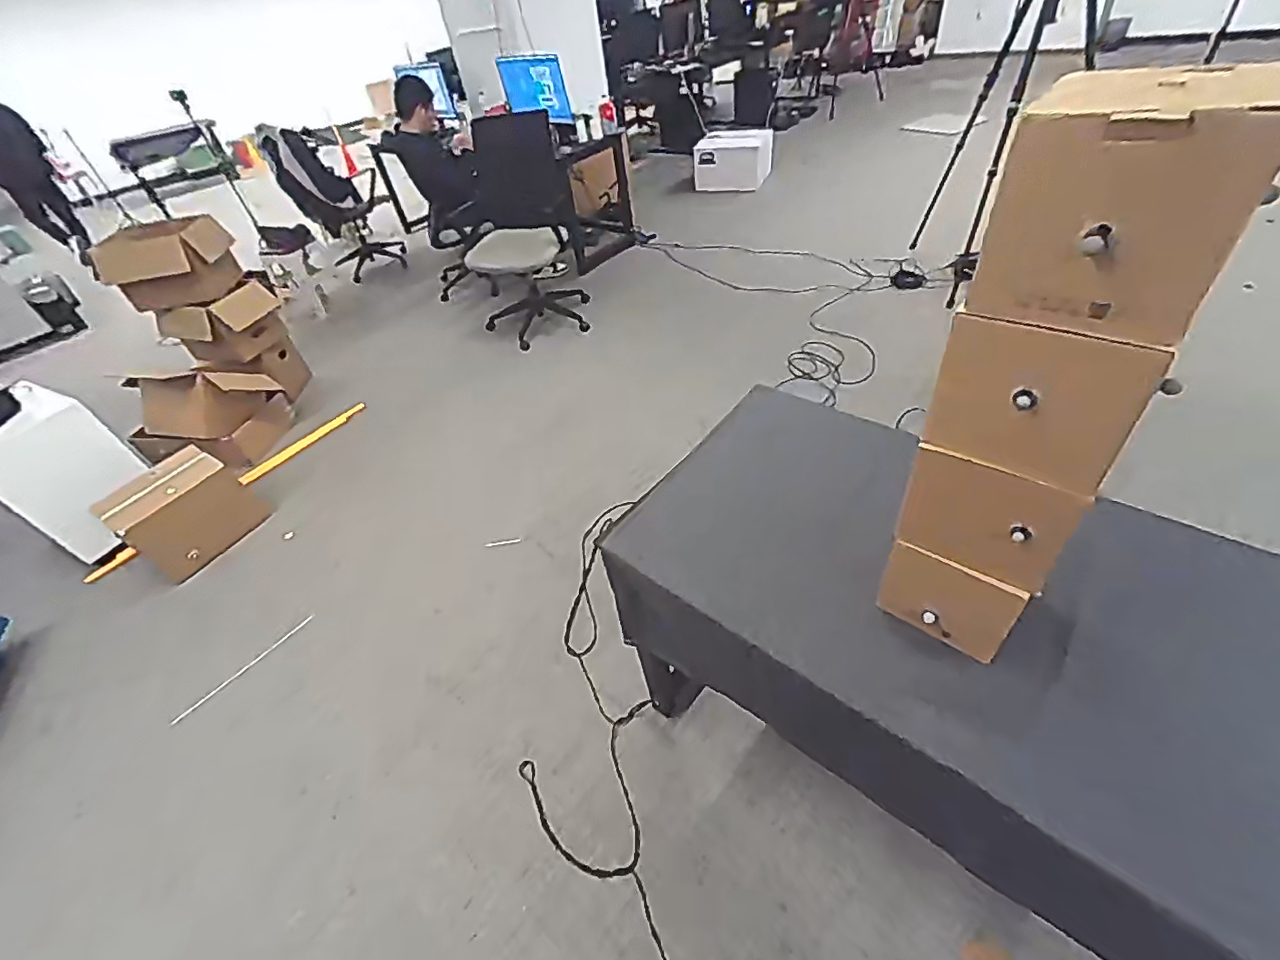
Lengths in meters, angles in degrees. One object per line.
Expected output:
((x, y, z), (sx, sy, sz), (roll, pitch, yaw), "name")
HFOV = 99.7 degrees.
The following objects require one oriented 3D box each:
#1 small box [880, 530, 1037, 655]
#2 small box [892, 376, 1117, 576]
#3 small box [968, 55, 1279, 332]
((0.476, 0.118, 0.800), (0.168, 0.176, 0.179), (28, 55, 34), "small box")
((0.453, -0.003, 0.693), (0.179, 0.176, 0.168), (25, 52, 33), "small box")
((0.422, -0.254, 0.485), (0.168, 0.176, 0.179), (26, 53, 33), "small box")
